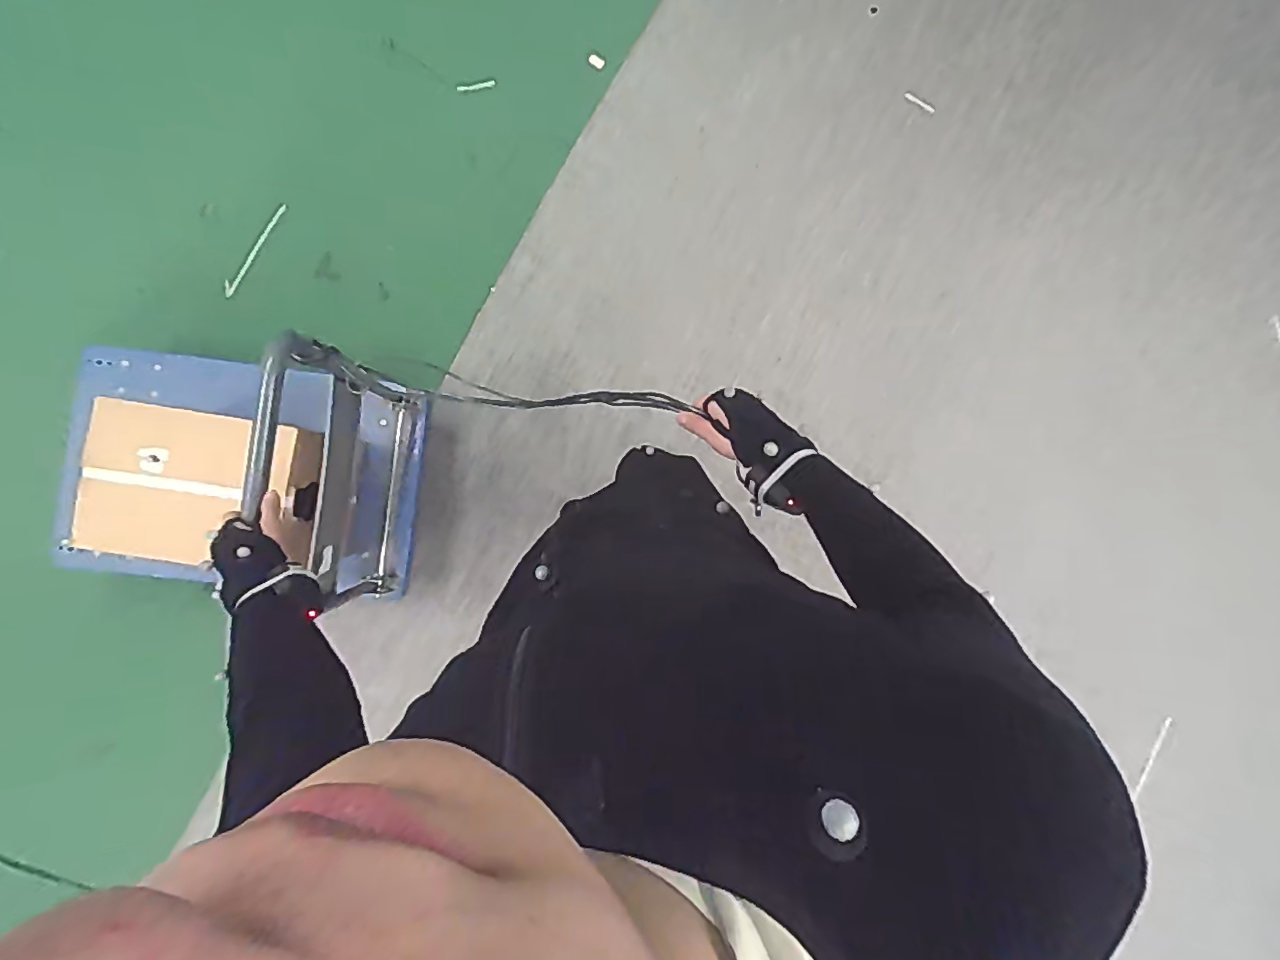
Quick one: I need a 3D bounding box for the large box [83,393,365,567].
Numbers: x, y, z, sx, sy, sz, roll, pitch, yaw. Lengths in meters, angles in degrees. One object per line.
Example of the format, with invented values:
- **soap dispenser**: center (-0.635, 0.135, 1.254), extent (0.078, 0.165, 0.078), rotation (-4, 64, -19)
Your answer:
- **large box**: center (-0.921, -0.001, 1.256), extent (0.408, 0.320, 0.320), rotation (9, 89, -3)
